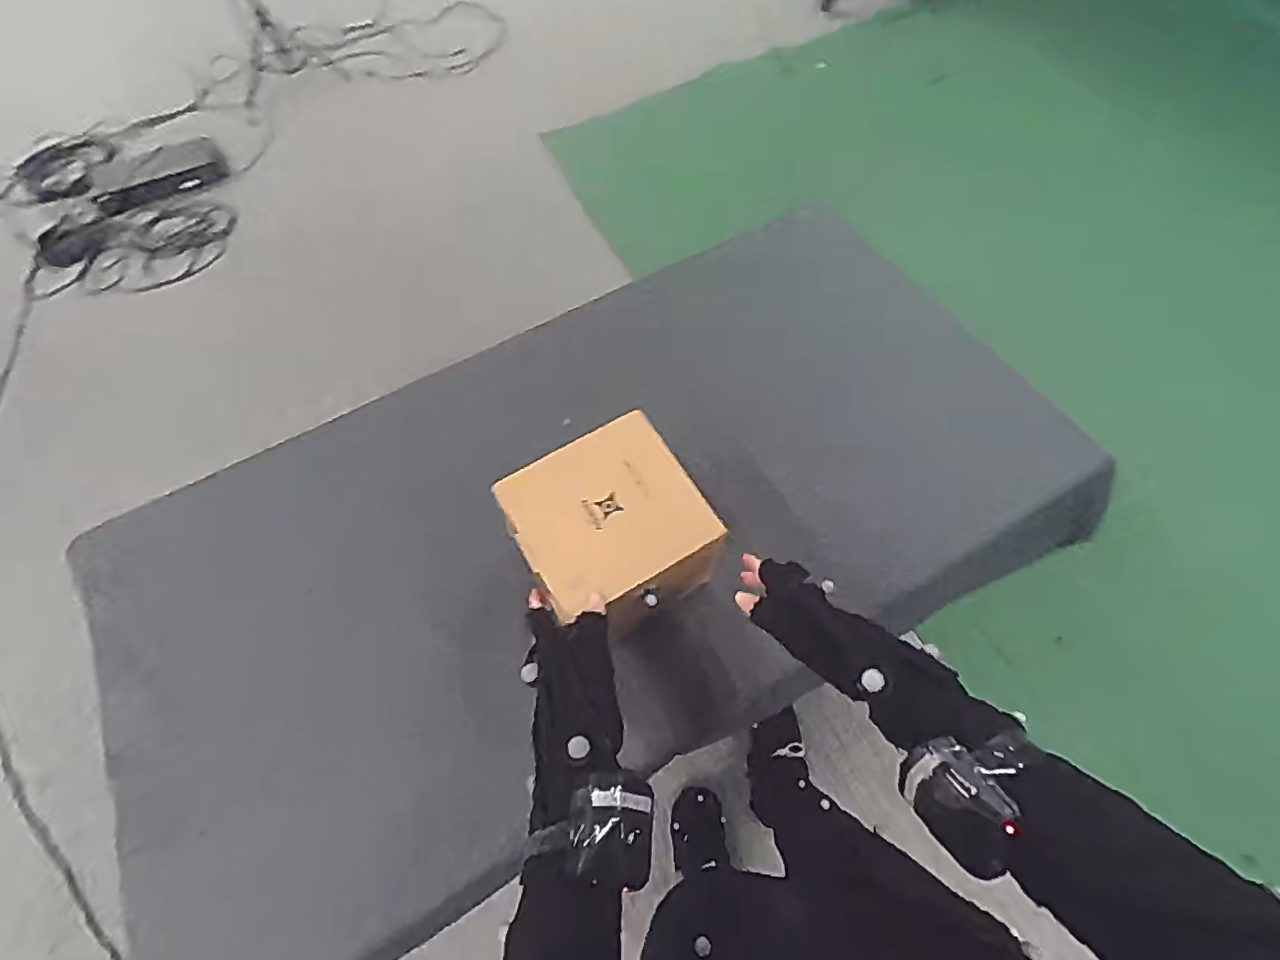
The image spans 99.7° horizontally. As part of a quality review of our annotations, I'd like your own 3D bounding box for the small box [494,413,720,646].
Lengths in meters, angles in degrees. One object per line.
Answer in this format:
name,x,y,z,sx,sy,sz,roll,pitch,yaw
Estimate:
small box,-0.033,0.064,0.604,0.179,0.176,0.168,-29,68,-13
